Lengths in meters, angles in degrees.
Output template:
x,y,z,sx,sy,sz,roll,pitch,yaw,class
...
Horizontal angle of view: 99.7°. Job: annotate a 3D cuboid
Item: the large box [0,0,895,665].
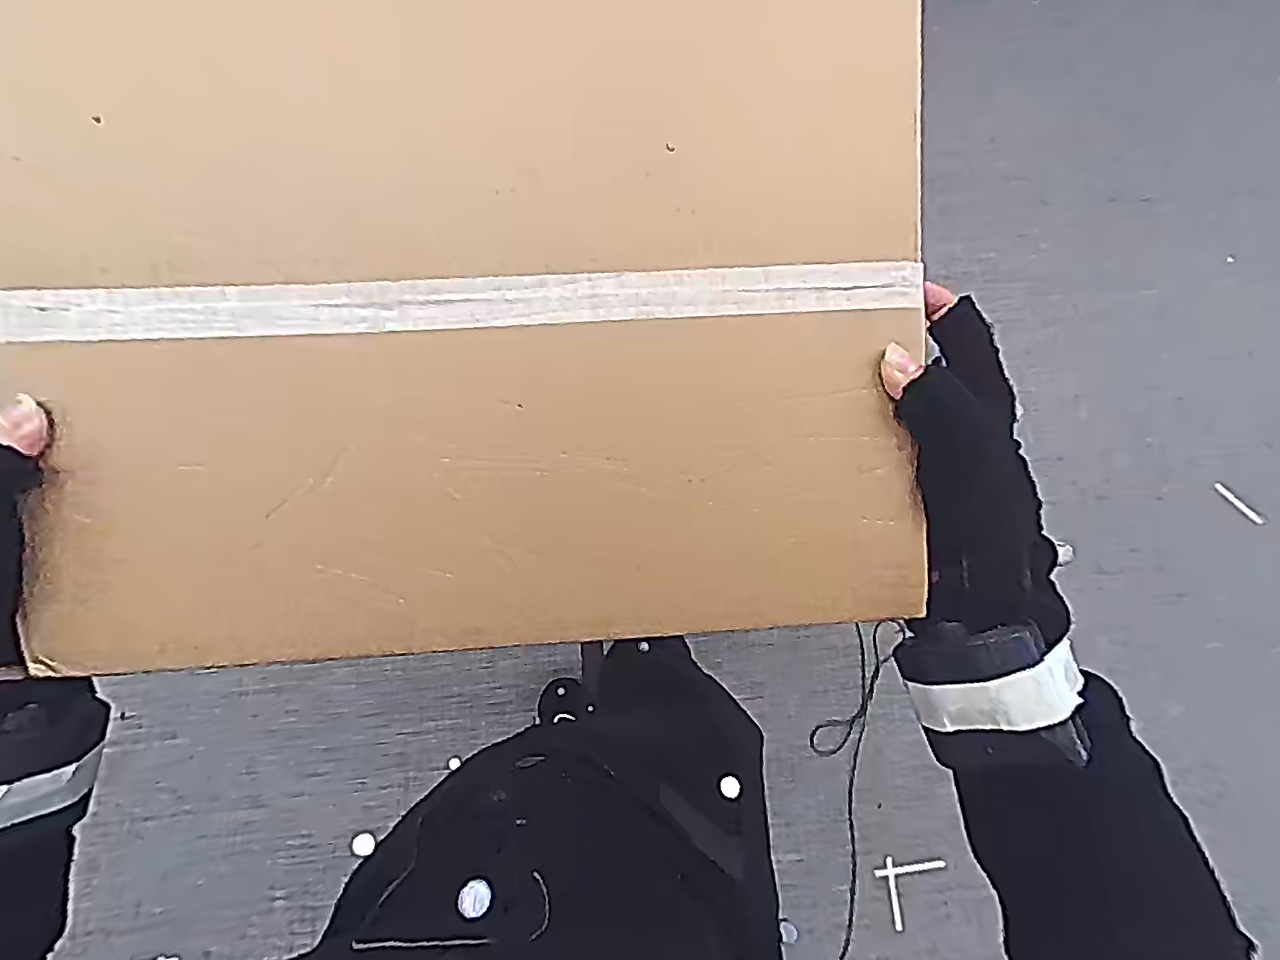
x,y,z,sx,sy,sz,roll,pitch,yaw,class
-0.082,-0.087,0.400,0.408,0.320,0.320,-2,93,-4,large box
